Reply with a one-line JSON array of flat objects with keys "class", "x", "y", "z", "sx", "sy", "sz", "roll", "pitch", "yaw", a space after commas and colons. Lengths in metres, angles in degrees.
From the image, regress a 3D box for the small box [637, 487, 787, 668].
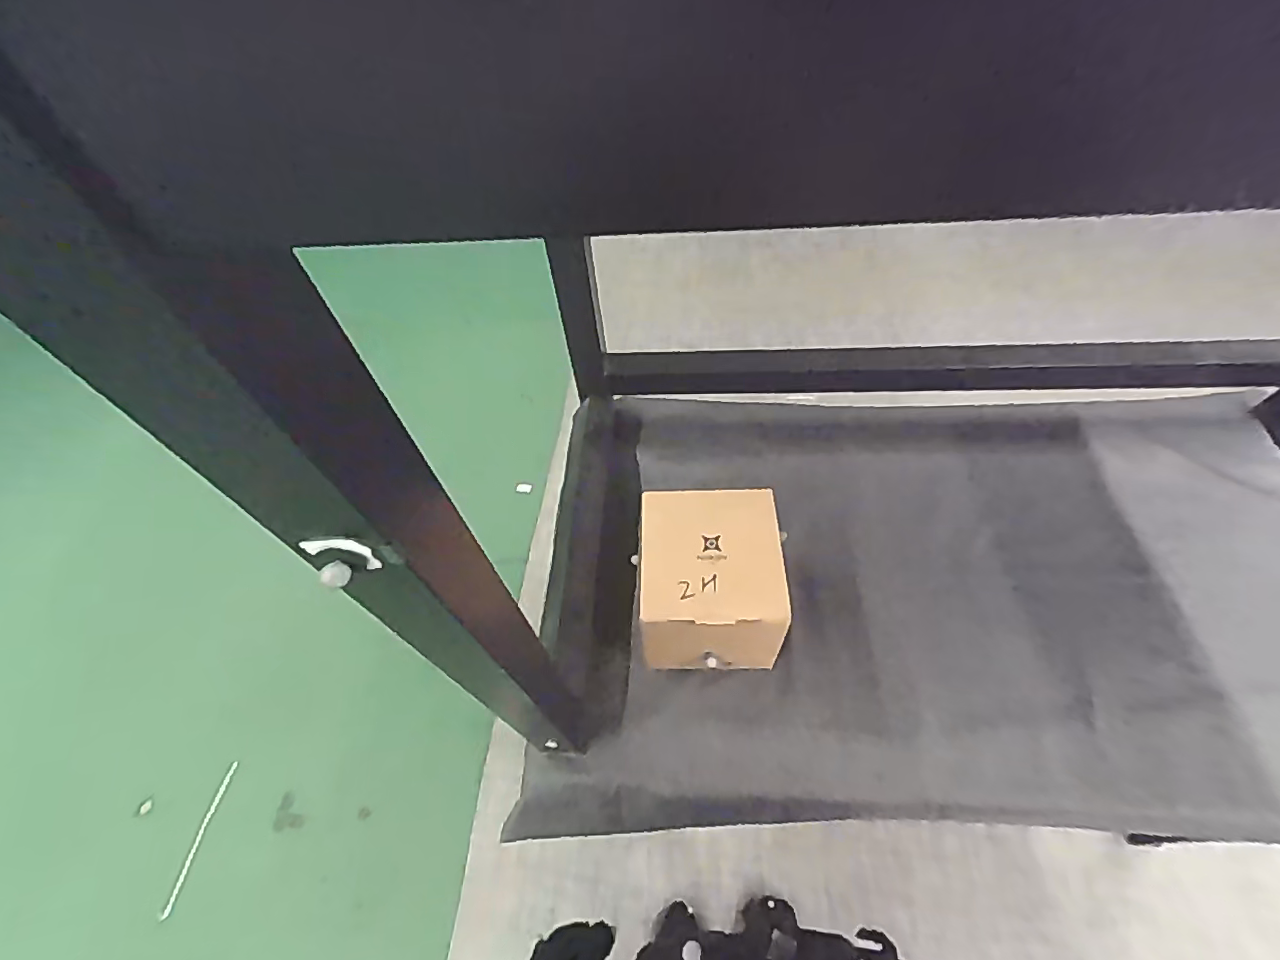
[{"class": "small box", "x": 0.085, "y": 0.128, "z": 0.697, "sx": 0.168, "sy": 0.176, "sz": 0.179, "roll": -2, "pitch": 54, "yaw": 4}]
